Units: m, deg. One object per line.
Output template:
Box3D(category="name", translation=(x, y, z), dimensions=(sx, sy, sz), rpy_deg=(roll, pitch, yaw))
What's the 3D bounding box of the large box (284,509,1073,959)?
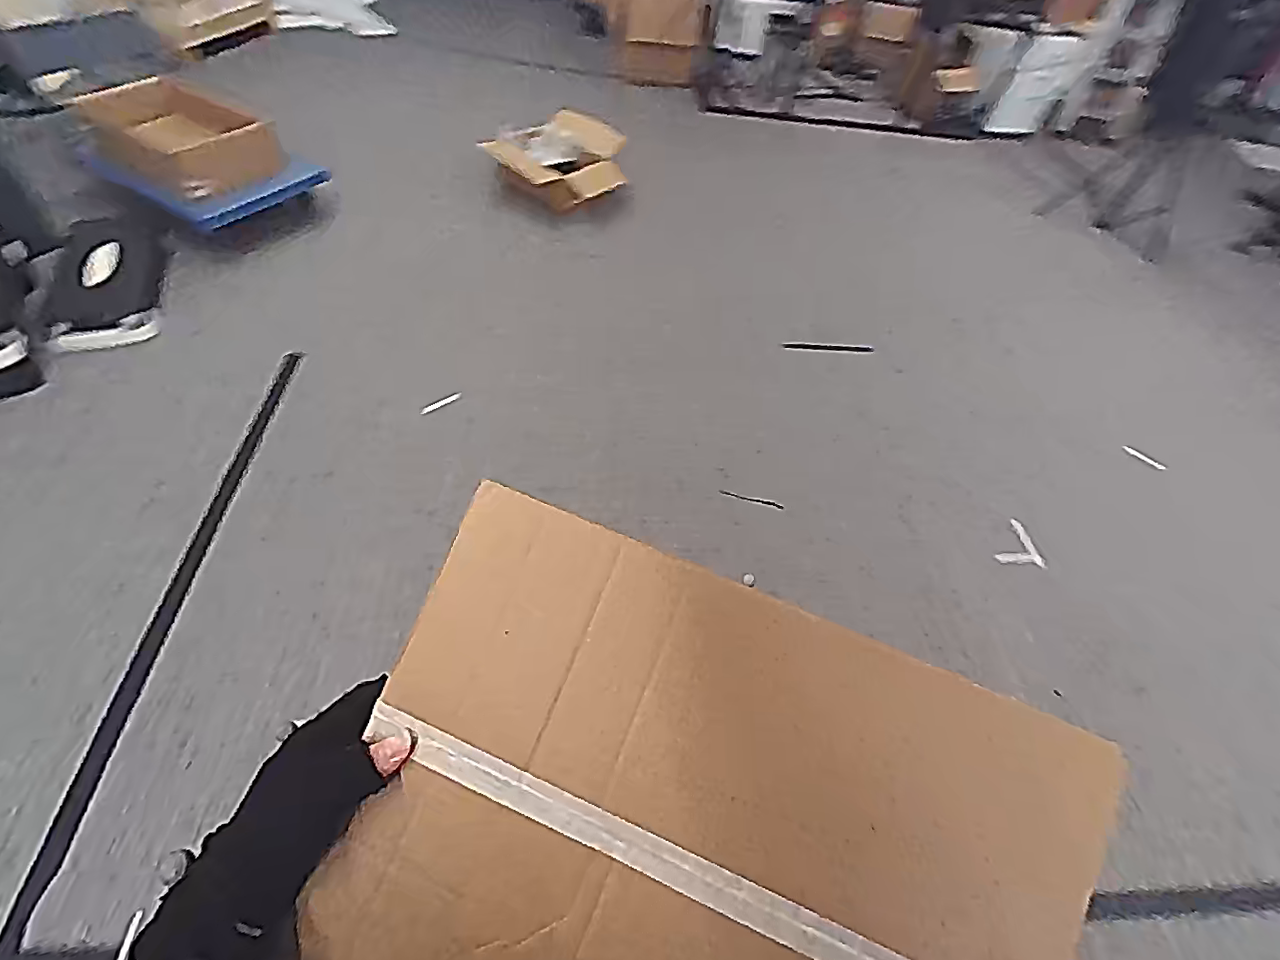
Box3D(category="large box", translation=(0.030, 0.246, 0.467), dimensions=(0.408, 0.320, 0.320), rpy_deg=(20, 82, 6))
